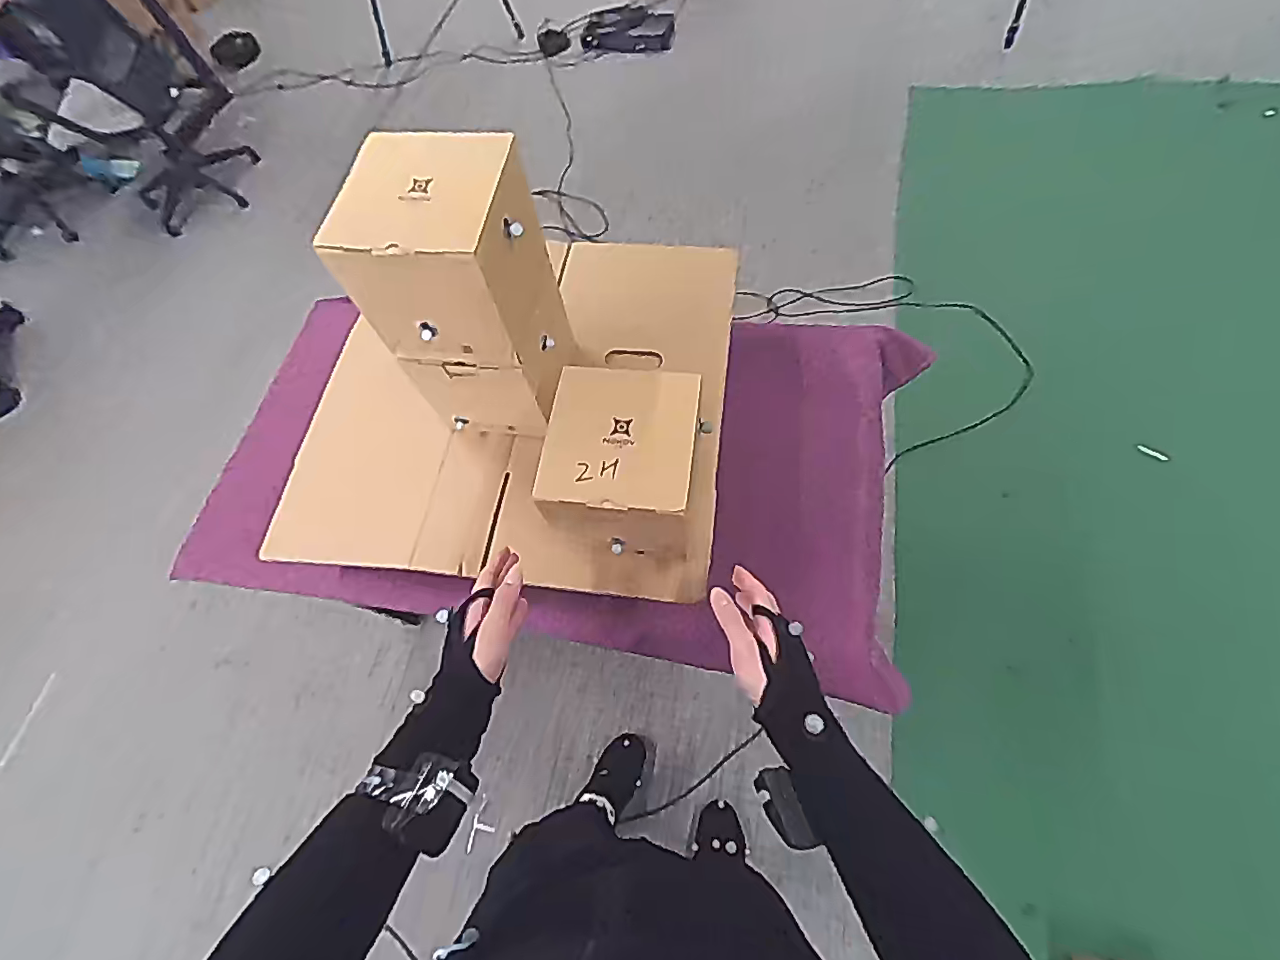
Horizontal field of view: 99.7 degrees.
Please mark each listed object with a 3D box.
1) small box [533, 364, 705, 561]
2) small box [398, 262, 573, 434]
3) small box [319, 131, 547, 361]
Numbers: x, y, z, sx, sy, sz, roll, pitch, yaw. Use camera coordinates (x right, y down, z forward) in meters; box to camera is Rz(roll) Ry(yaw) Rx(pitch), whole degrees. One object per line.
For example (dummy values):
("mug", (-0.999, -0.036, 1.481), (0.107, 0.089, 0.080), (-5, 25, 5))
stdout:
("small box", (-0.013, -0.016, 0.662), (0.168, 0.176, 0.179), (6, 66, 9))
("small box", (-0.199, -0.180, 0.756), (0.168, 0.176, 0.179), (5, 65, 7))
("small box", (-0.212, -0.257, 0.613), (0.168, 0.176, 0.179), (5, 66, 6))
